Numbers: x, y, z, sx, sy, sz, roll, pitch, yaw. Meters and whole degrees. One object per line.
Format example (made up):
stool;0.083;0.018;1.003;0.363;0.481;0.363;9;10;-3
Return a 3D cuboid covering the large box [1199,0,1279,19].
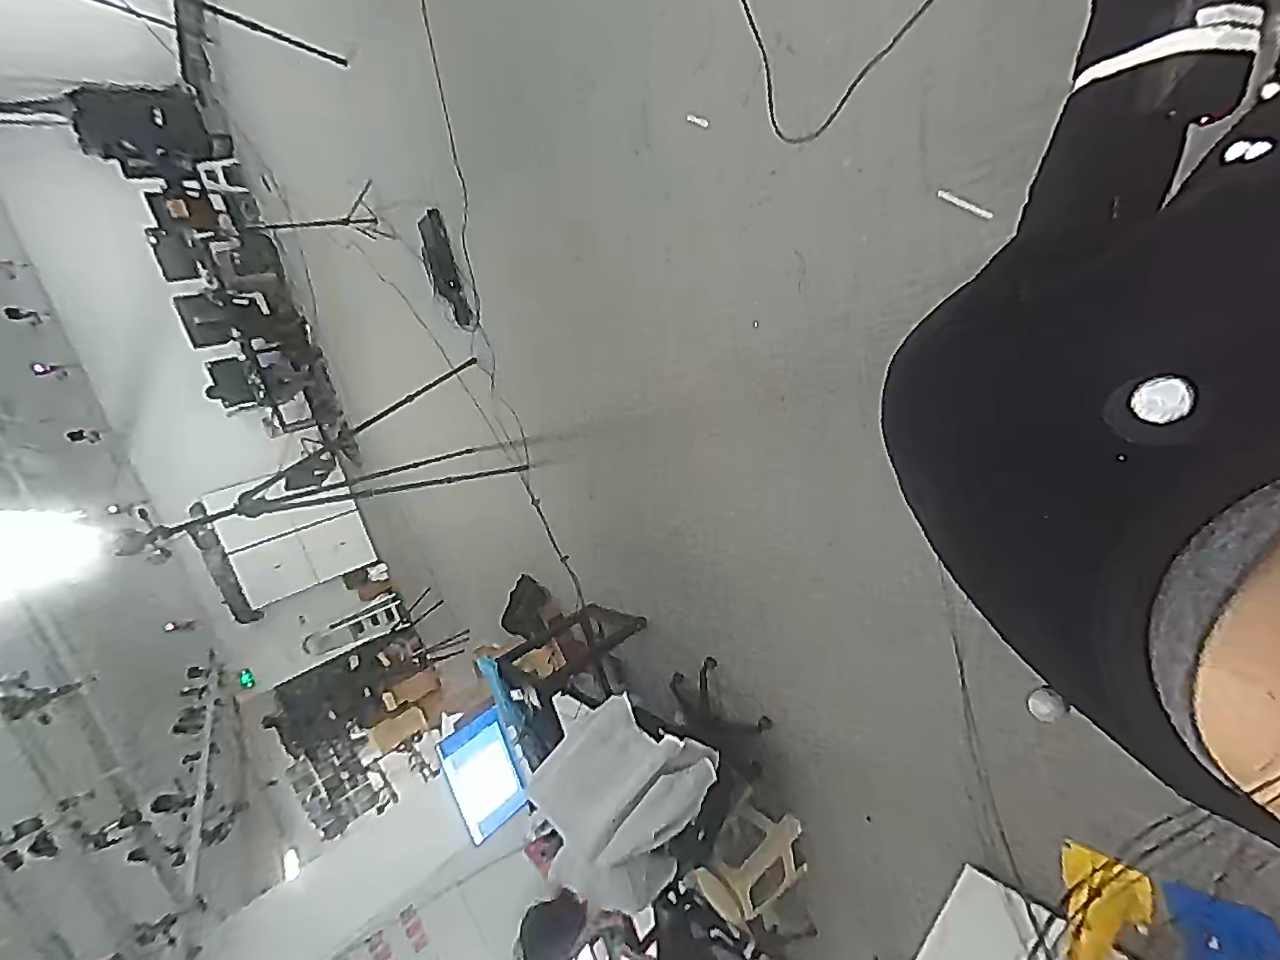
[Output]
large box;0.595;-0.489;0.254;0.408;0.320;0.320;14;123;37
